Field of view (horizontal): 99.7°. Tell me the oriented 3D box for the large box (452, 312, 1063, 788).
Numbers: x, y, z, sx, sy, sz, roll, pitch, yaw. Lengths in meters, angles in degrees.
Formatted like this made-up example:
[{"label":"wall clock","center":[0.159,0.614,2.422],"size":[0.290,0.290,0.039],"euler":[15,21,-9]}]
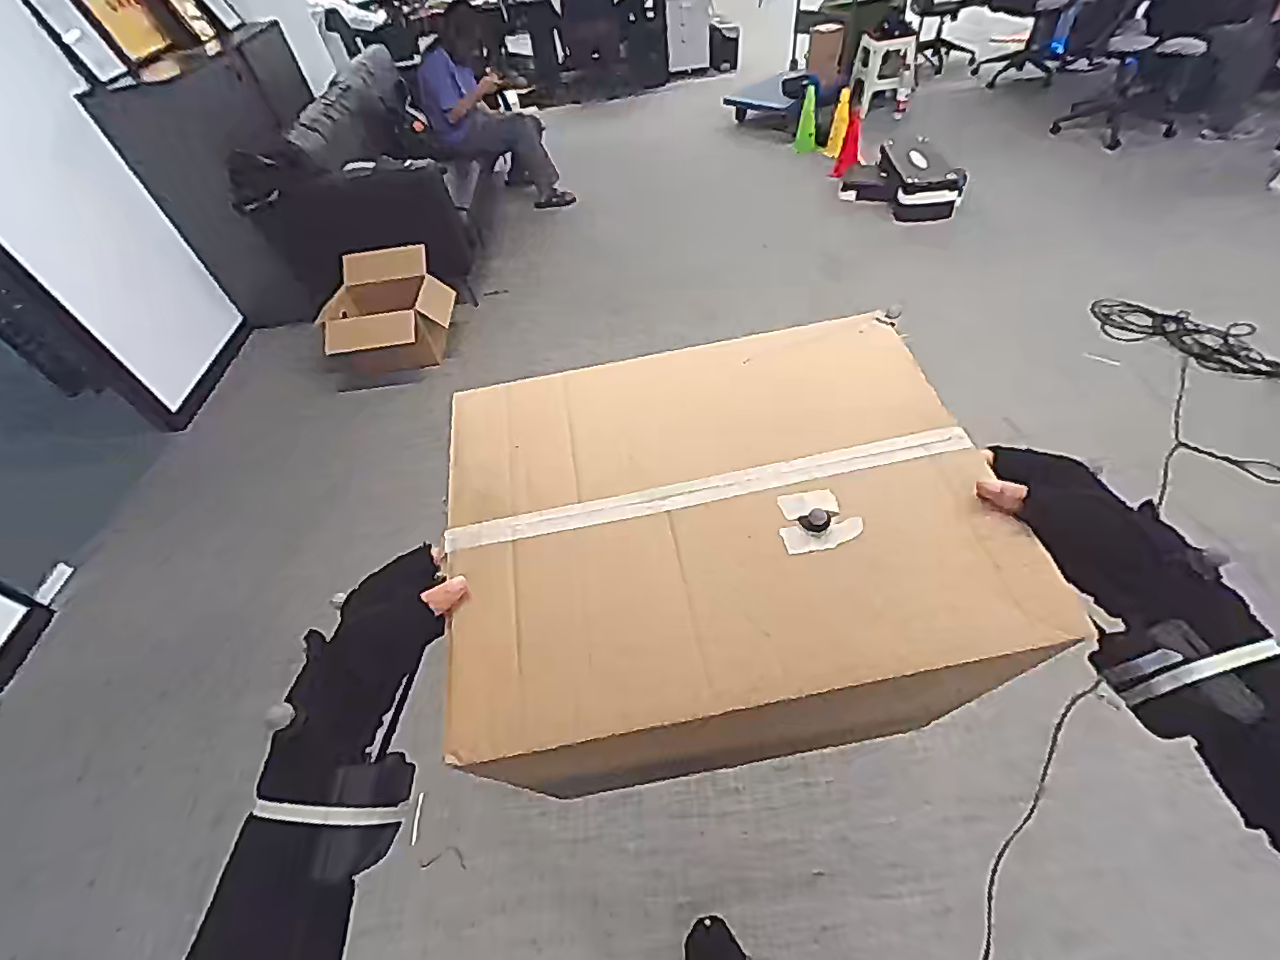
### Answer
[{"label":"large box","center":[0.062,0.085,0.541],"size":[0.408,0.320,0.320],"euler":[-11,57,-2]}]
